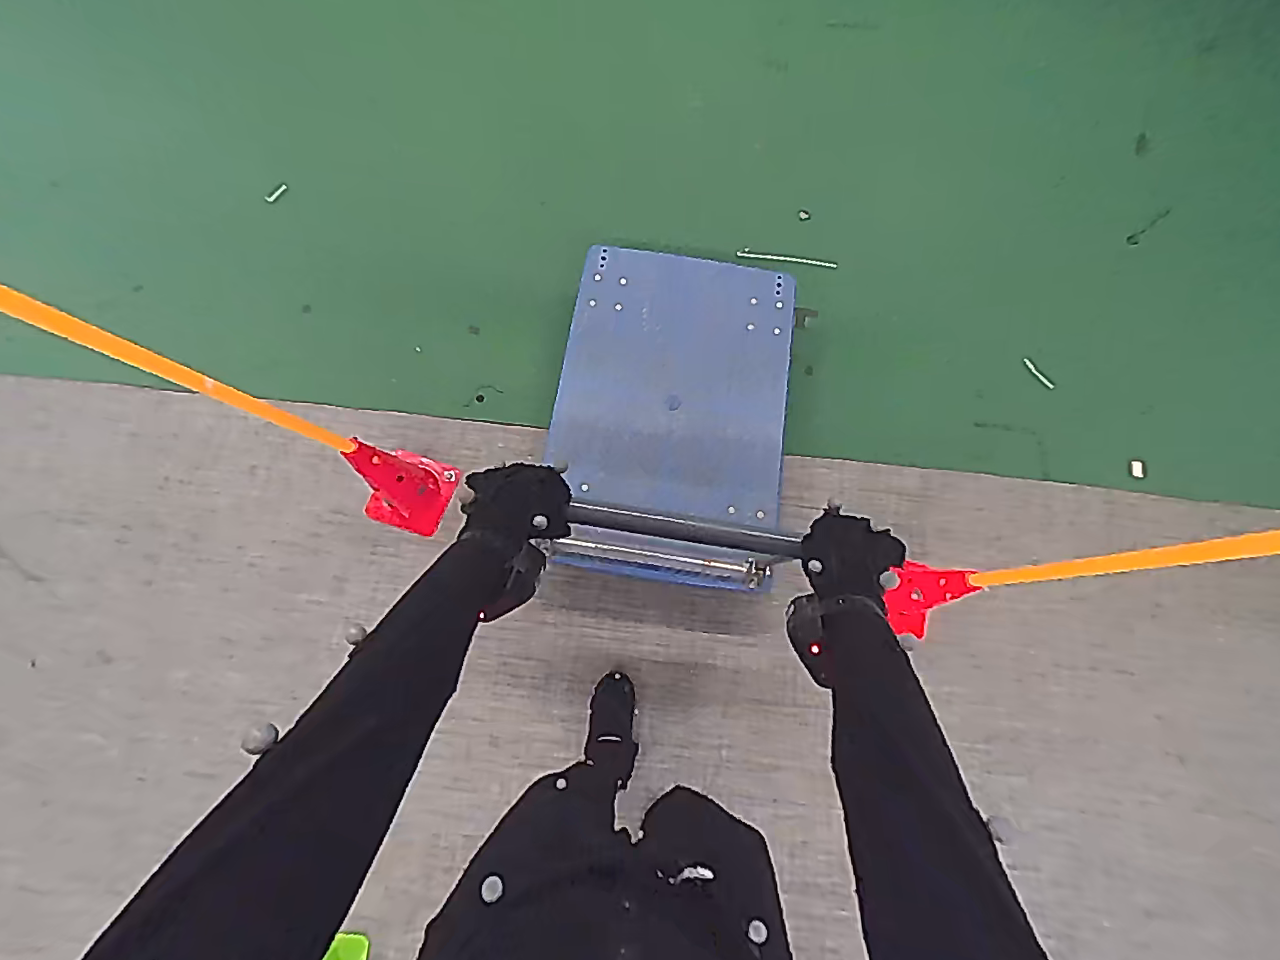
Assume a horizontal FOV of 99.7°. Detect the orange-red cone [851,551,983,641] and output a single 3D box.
[{"bbox_3d":[0.663,0.252,1.245,0.198,0.360,0.199,17,74,3],"label":"orange-red cone"}]
